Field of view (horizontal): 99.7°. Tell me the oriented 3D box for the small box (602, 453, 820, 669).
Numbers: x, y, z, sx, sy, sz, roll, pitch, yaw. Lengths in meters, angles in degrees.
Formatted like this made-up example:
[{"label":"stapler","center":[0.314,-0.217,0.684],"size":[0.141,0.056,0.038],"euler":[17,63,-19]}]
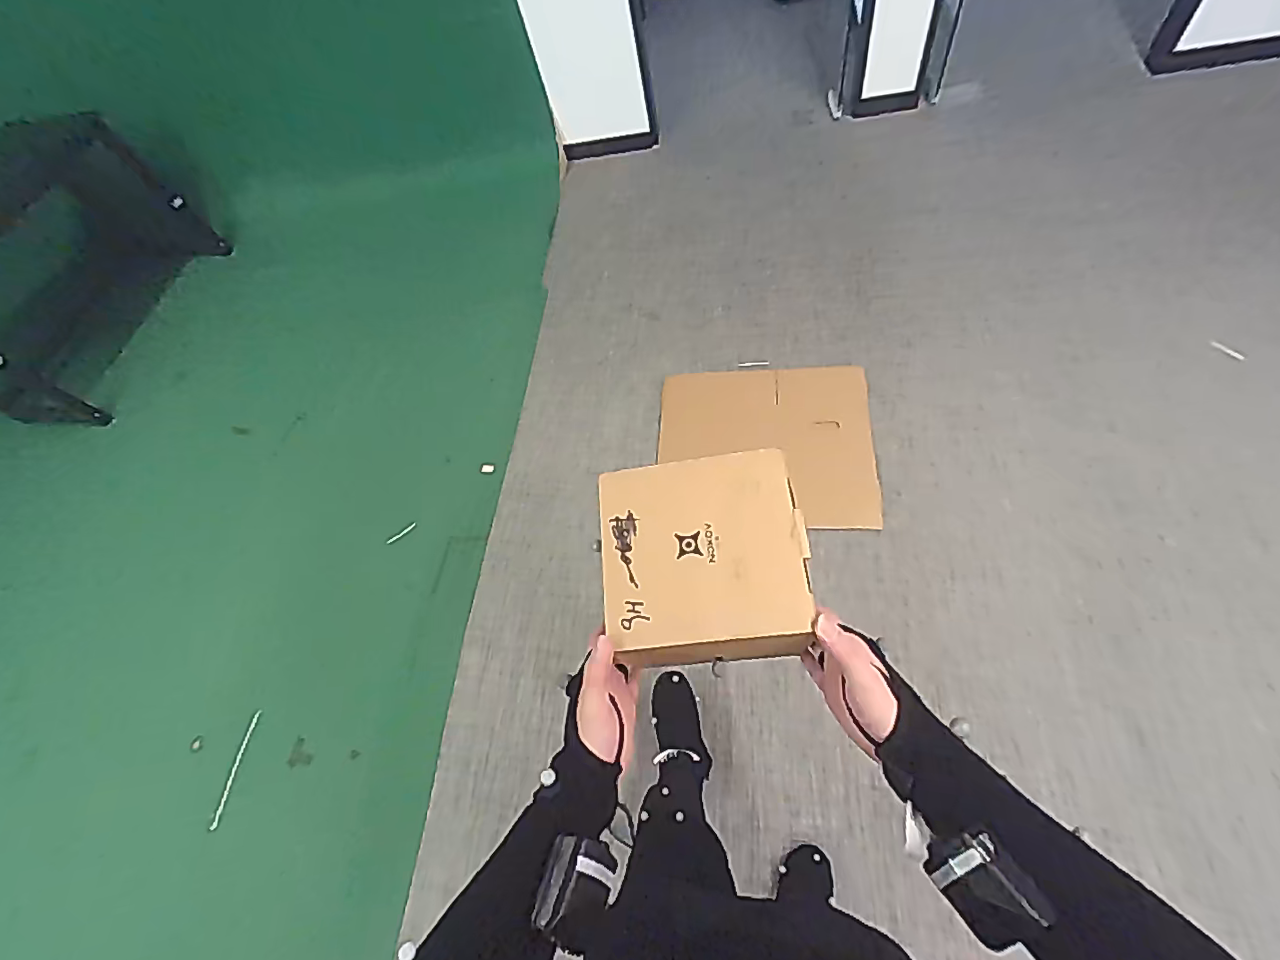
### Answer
[{"label":"small box","center":[0.065,0.091,0.542],"size":[0.179,0.176,0.168],"euler":[-7,64,7]}]
